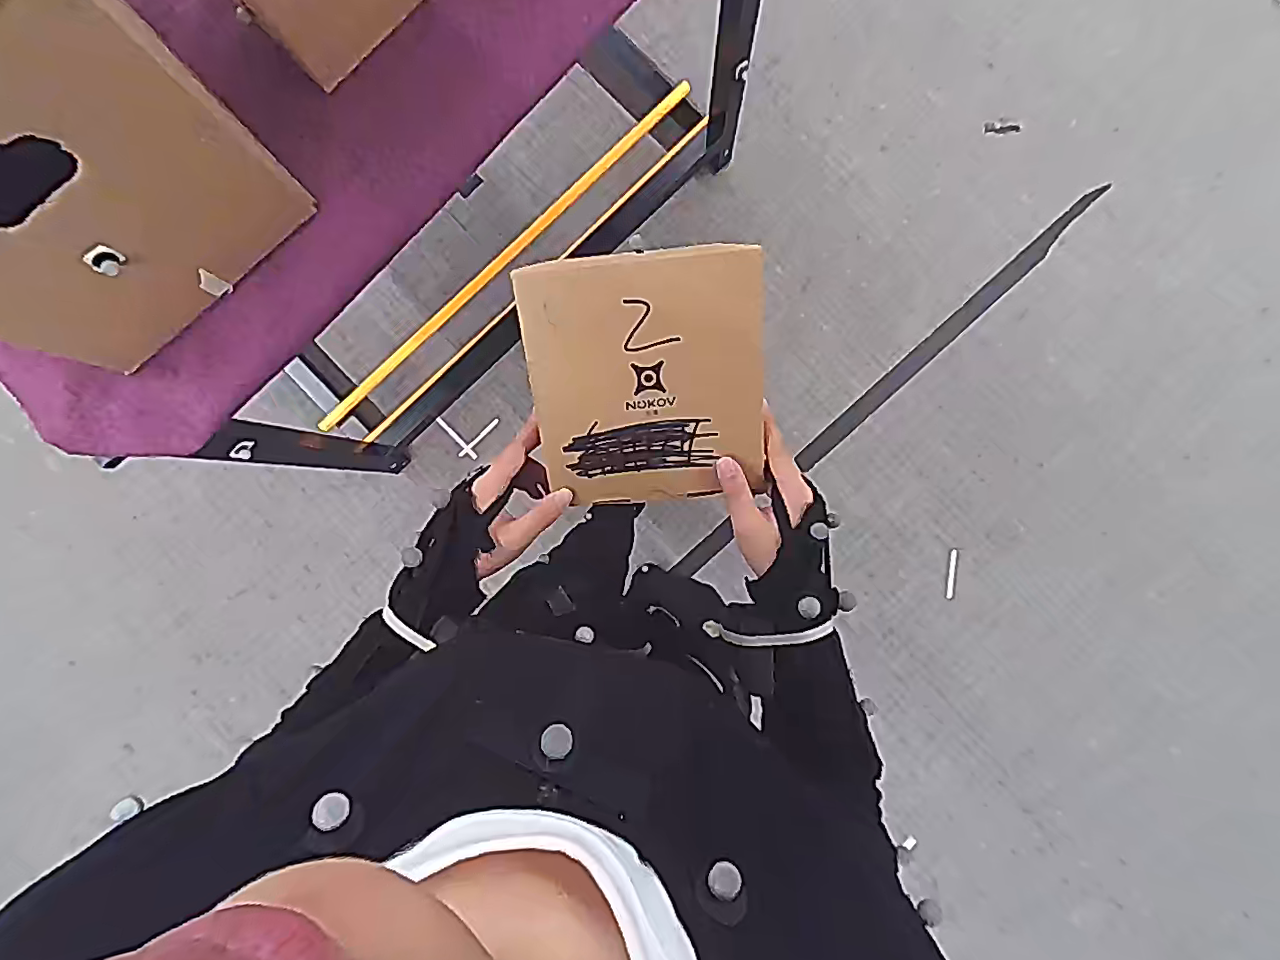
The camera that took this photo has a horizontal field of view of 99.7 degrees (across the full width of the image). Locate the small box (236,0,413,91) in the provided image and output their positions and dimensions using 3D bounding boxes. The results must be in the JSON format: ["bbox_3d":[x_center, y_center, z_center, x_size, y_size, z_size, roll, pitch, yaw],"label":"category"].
[{"bbox_3d":[-0.380,-0.594,0.593,0.179,0.176,0.168,-44,86,-1],"label":"small box"}]
